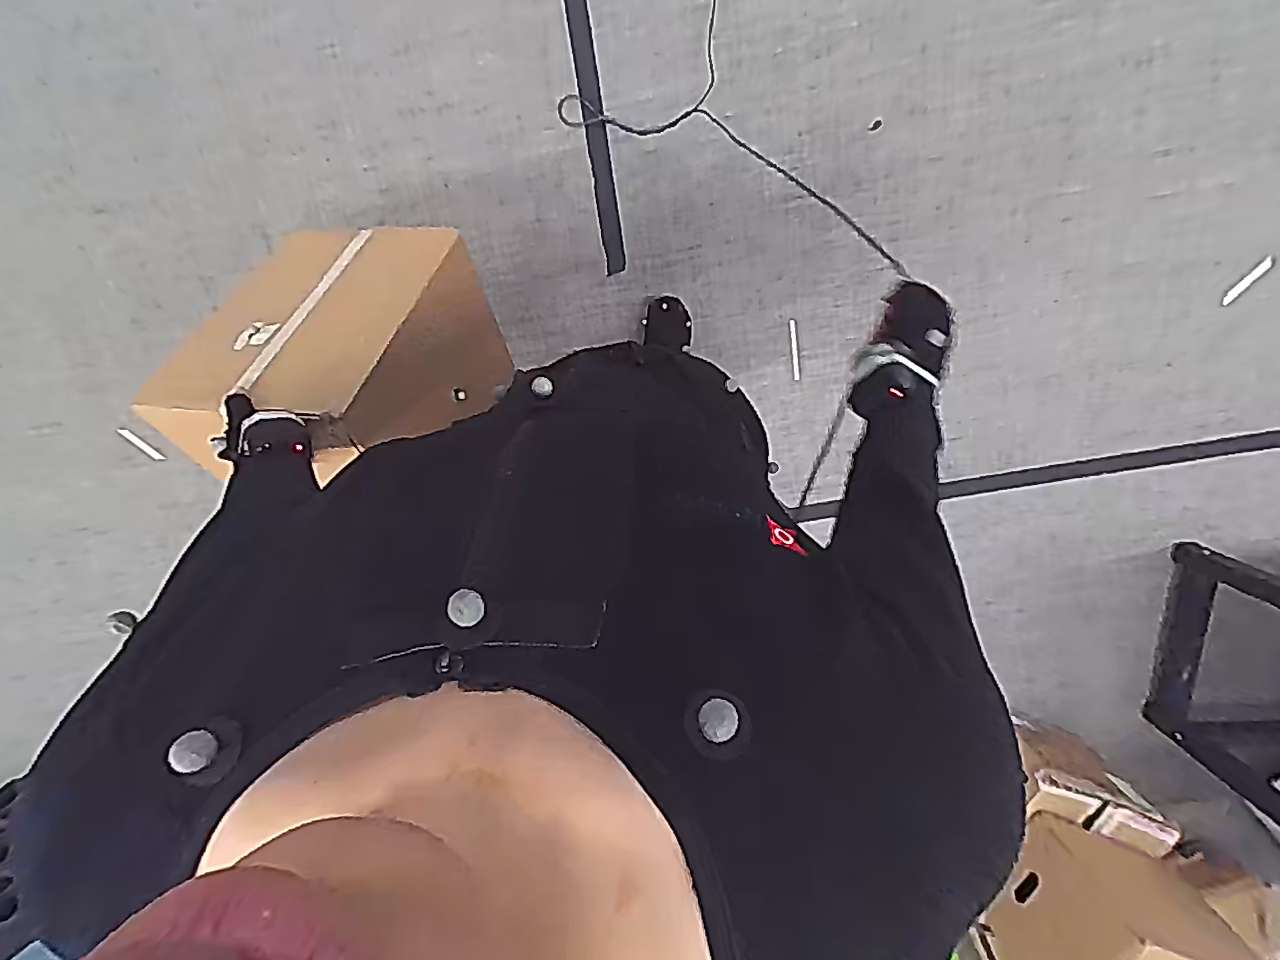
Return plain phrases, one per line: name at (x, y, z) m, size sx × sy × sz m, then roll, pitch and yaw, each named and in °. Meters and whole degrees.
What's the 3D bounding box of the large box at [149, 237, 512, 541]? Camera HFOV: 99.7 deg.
large box at (-0.451, -0.154, 0.910) m, size 0.320 × 0.408 × 0.320 m, roll 3°, pitch 145°, yaw 11°
